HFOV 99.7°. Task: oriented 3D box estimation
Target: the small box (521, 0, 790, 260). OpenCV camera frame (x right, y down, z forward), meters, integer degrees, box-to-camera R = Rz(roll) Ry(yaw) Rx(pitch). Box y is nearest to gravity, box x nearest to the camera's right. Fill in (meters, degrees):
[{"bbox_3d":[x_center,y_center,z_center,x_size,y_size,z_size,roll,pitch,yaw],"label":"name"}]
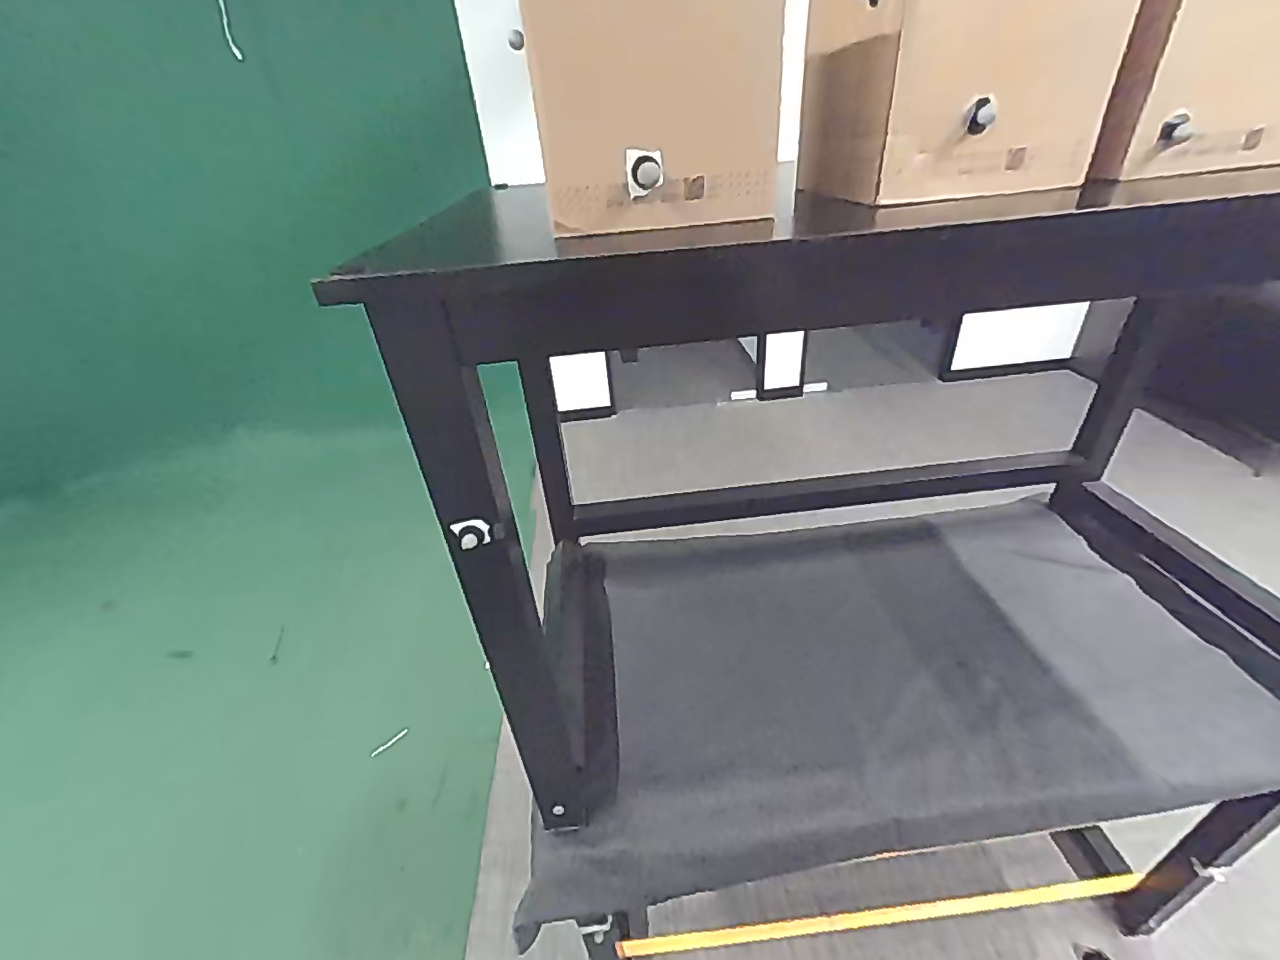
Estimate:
[{"bbox_3d":[0.006,-0.281,0.429,0.168,0.176,0.179,-8,34,-3],"label":"small box"}]
